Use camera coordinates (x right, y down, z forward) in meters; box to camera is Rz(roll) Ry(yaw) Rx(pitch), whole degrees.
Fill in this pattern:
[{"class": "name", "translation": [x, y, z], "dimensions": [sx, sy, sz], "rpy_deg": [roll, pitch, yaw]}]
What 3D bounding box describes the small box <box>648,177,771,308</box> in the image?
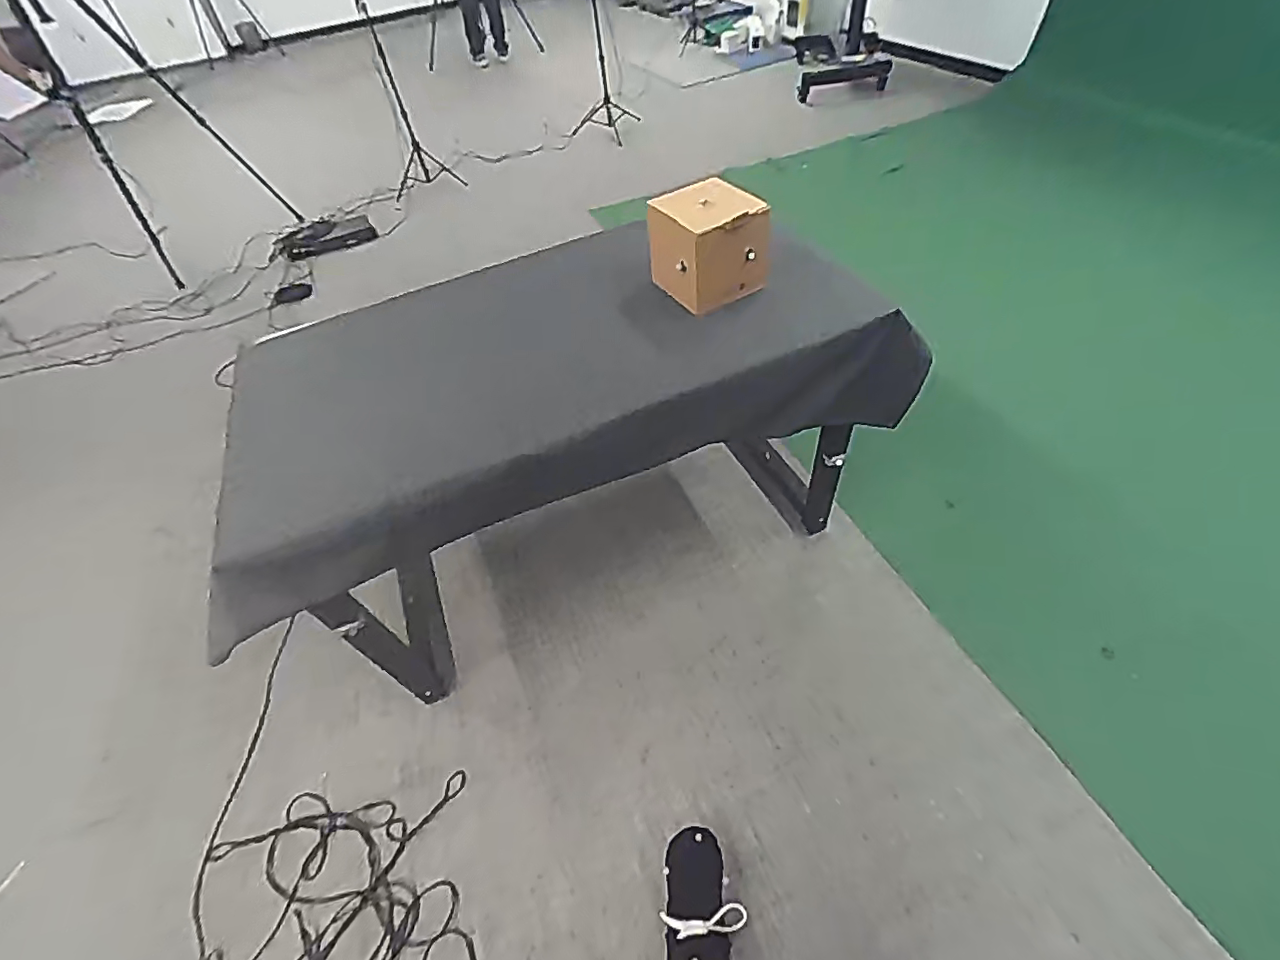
[{"class": "small box", "translation": [0.134, -0.458, 1.058], "dimensions": [0.168, 0.176, 0.179], "rpy_deg": [-27, 51, -16]}]
